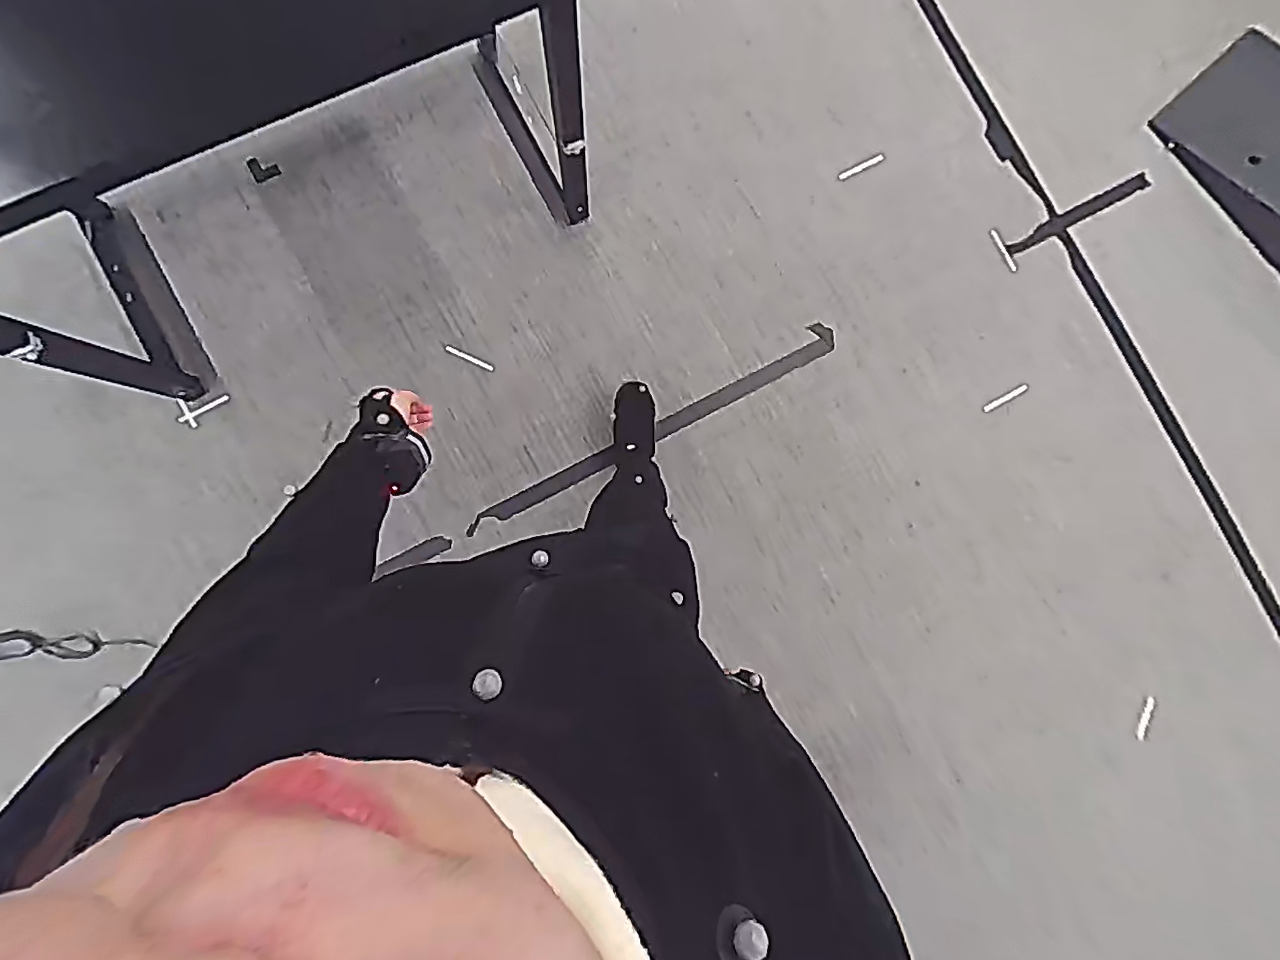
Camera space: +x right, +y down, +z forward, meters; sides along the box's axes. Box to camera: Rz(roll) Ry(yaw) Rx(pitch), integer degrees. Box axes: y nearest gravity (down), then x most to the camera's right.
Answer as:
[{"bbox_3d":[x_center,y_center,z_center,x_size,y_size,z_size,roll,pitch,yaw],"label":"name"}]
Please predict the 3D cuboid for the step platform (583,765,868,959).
[{"bbox_3d":[0.206,1.007,1.353,0.684,0.204,0.286,-22,88,-6],"label":"step platform"}]
